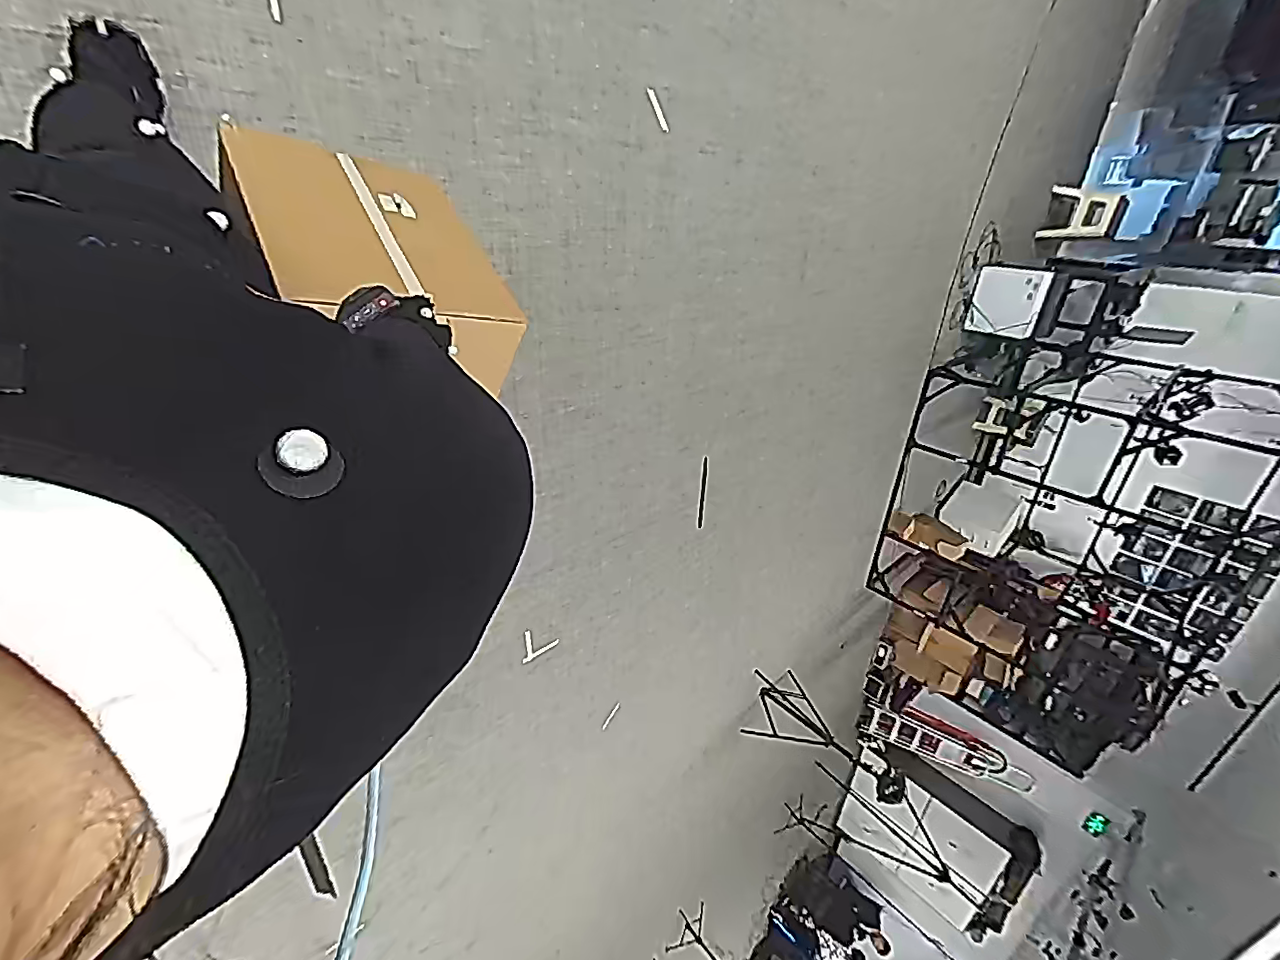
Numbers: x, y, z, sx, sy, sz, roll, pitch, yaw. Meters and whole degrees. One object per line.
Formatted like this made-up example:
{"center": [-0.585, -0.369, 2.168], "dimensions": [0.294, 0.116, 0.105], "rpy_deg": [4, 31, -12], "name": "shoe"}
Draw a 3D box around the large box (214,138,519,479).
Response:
{"center": [-0.459, -0.260, 0.879], "dimensions": [0.320, 0.408, 0.320], "rpy_deg": [-8, 144, -44], "name": "large box"}
